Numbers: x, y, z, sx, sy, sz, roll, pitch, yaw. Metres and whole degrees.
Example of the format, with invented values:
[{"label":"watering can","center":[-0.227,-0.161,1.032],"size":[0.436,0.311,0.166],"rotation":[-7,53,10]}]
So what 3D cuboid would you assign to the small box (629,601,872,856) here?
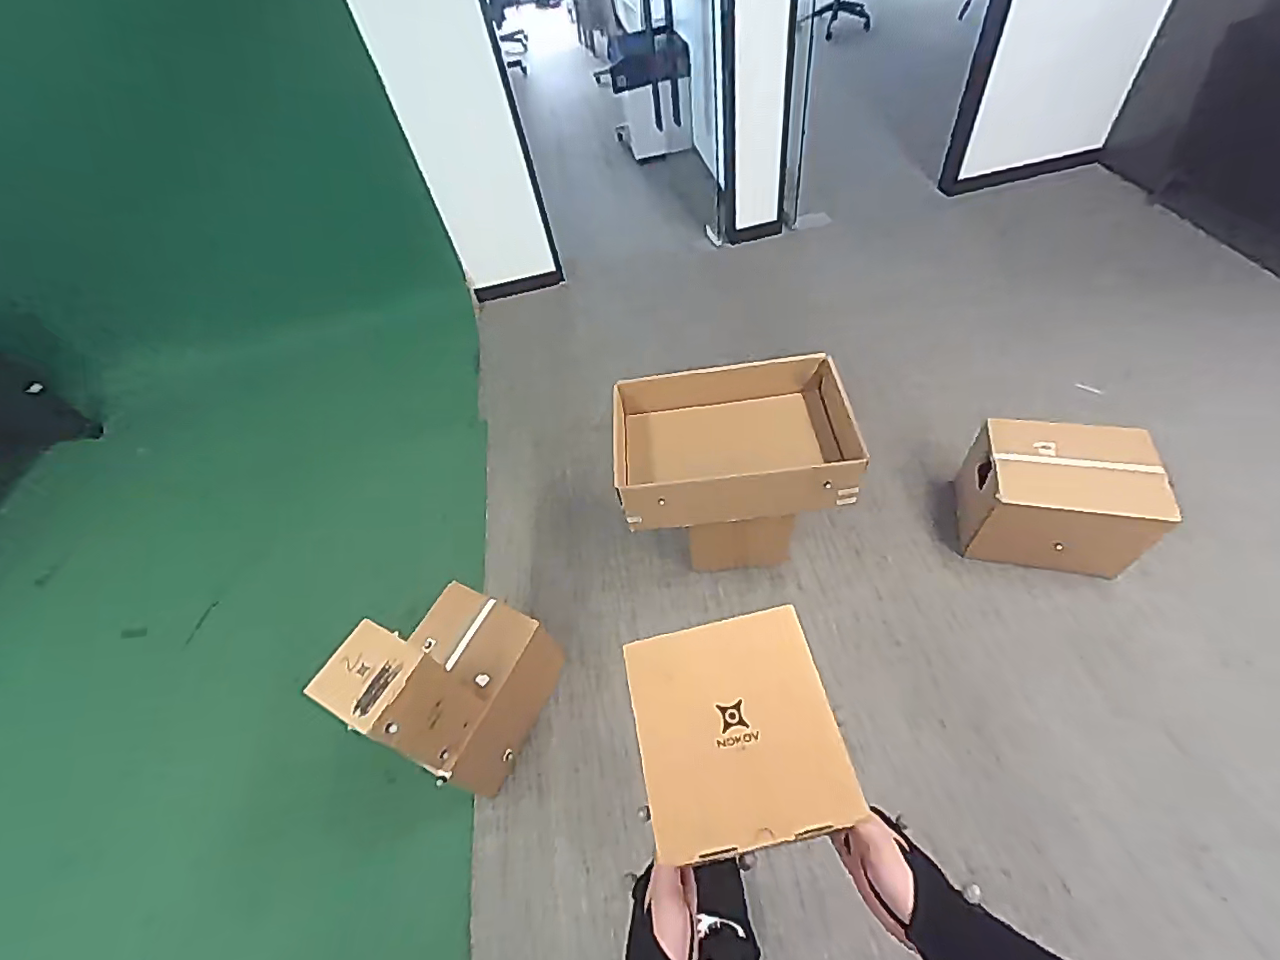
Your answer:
[{"label":"small box","center":[0.091,0.242,0.519],"size":[0.168,0.176,0.179],"rotation":[-13,55,0]}]

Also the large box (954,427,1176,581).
[{"label":"large box","center":[1.199,0.071,1.588],"size":[0.408,0.320,0.320],"rotation":[6,53,15]}]

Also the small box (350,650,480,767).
[{"label":"small box","center":[-0.492,0.516,1.210],"size":[0.179,0.176,0.168],"rotation":[20,57,24]}]
